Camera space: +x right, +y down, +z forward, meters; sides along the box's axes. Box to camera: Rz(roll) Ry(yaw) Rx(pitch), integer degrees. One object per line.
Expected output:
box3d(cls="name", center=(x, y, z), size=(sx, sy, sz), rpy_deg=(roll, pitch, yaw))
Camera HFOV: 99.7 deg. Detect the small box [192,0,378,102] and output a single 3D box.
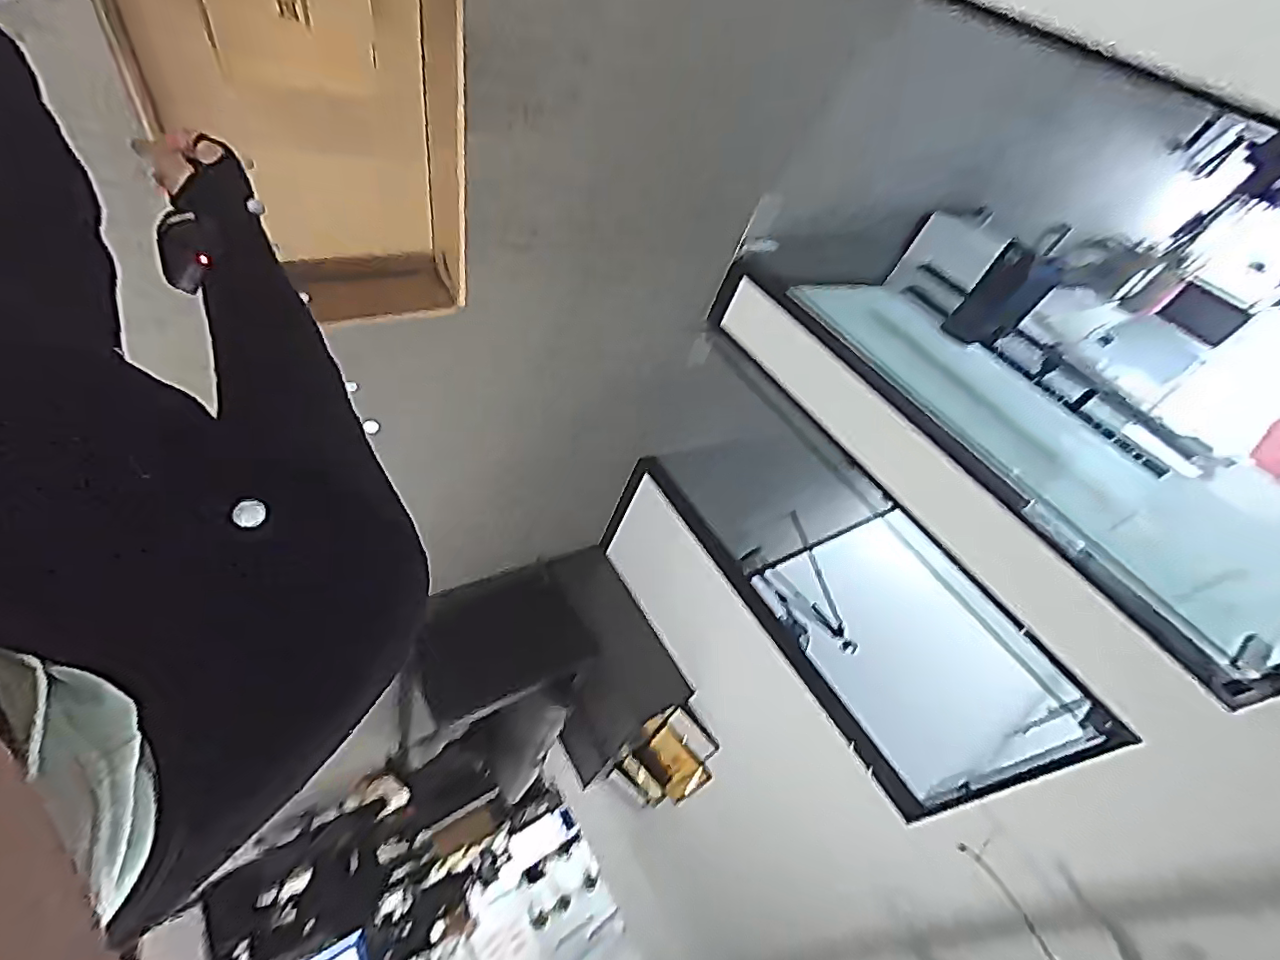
box3d(cls="small box", center=(-0.445, -0.596, 0.662), size=(0.179, 0.176, 0.168), rpy_deg=(-20, 148, -31))
